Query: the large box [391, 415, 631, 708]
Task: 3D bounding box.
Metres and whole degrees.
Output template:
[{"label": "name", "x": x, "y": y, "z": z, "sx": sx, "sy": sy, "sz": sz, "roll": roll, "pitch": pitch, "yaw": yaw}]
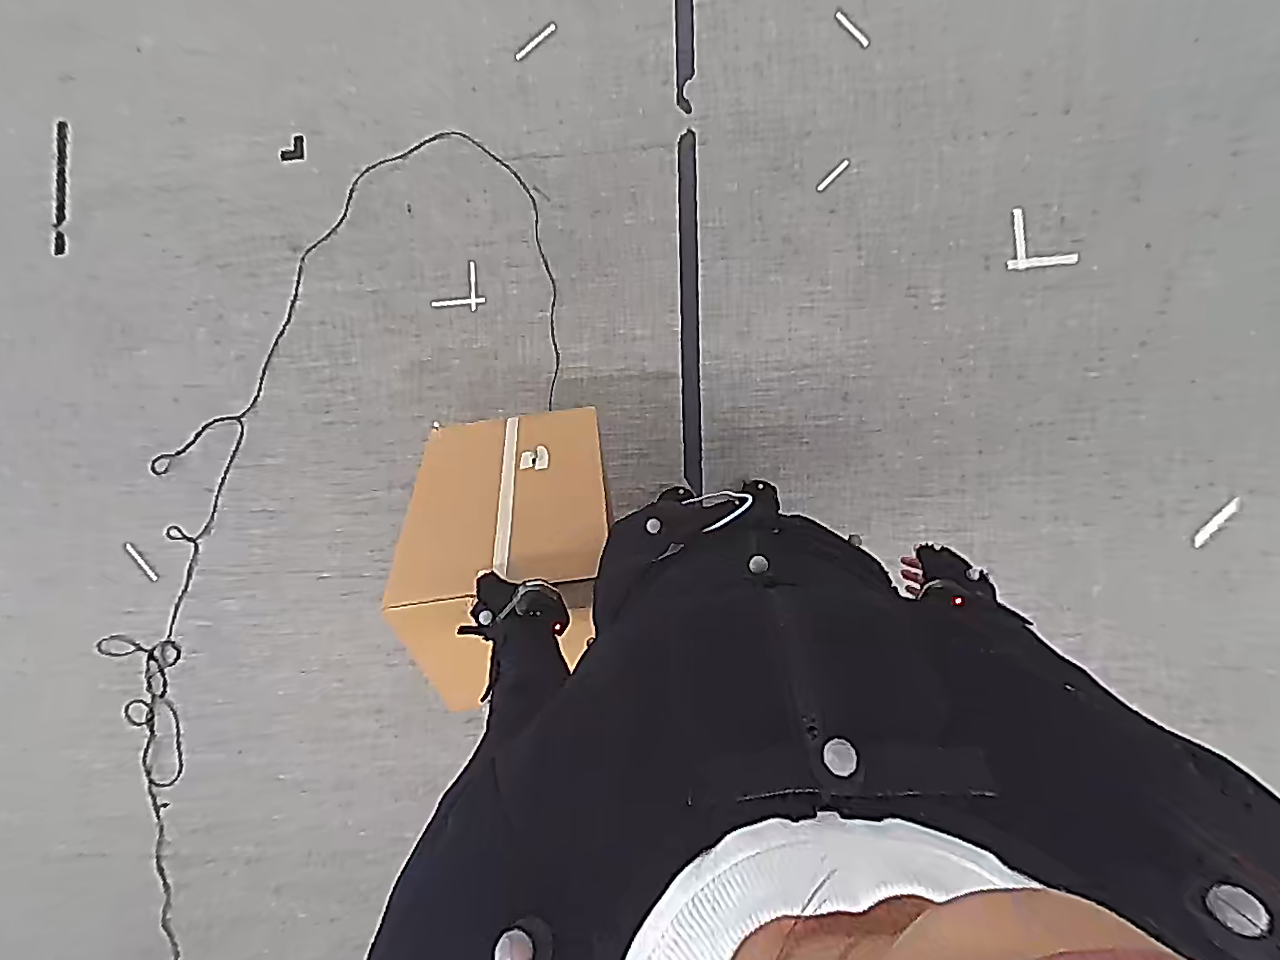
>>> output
[{"label": "large box", "x": -0.201, "y": 0.137, "z": 0.987, "sx": 0.320, "sy": 0.408, "sz": 0.320, "roll": -7, "pitch": 131, "yaw": -1}]
